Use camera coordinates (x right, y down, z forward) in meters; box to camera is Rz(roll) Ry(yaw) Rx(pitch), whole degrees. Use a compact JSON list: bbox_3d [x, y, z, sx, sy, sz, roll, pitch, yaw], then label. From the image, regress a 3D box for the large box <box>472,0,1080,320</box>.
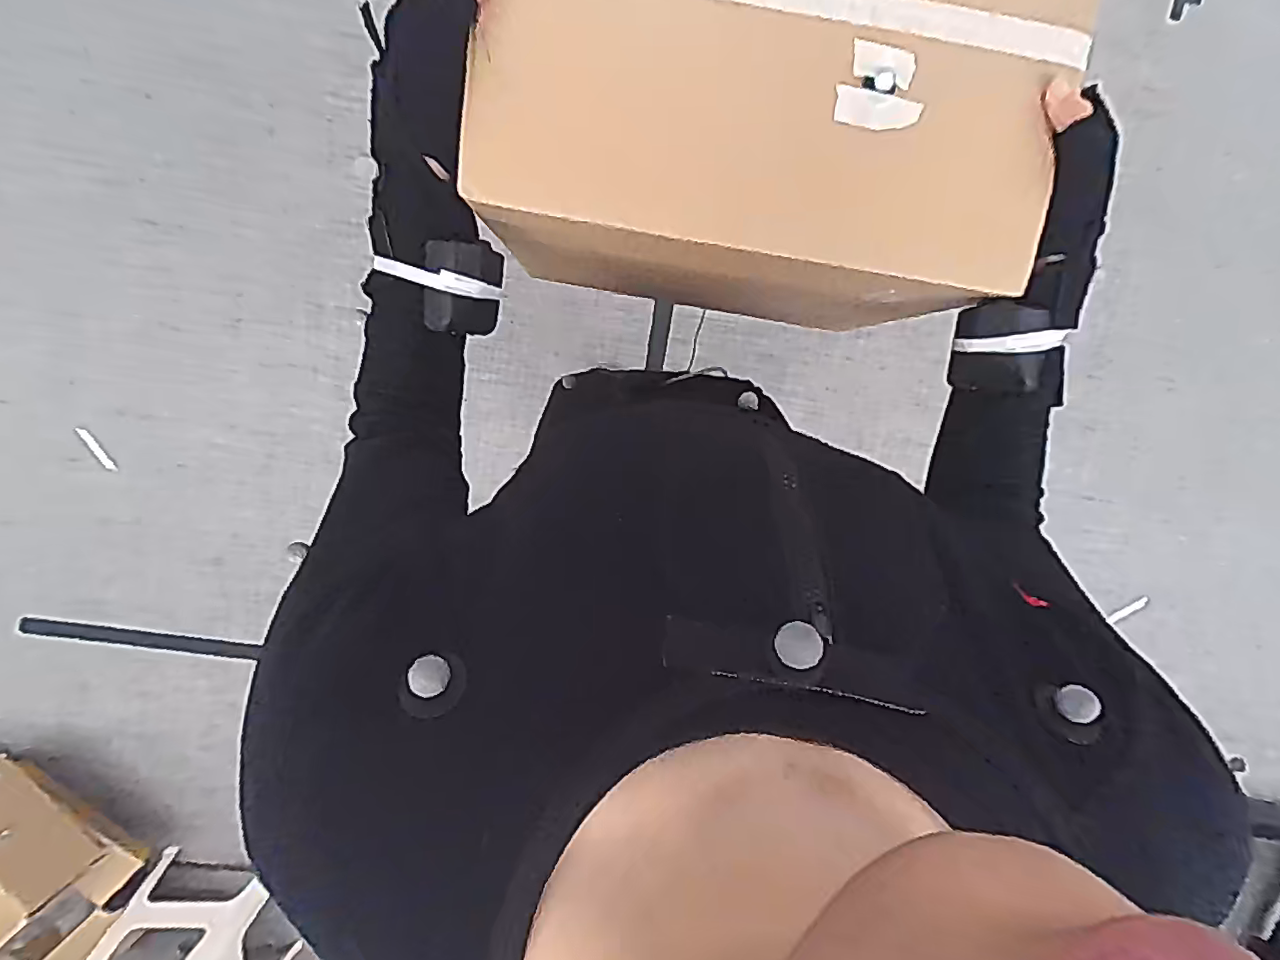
[{"bbox_3d":[0.088,-0.348,0.506,0.408,0.320,0.320,8,102,-5],"label":"large box"}]
